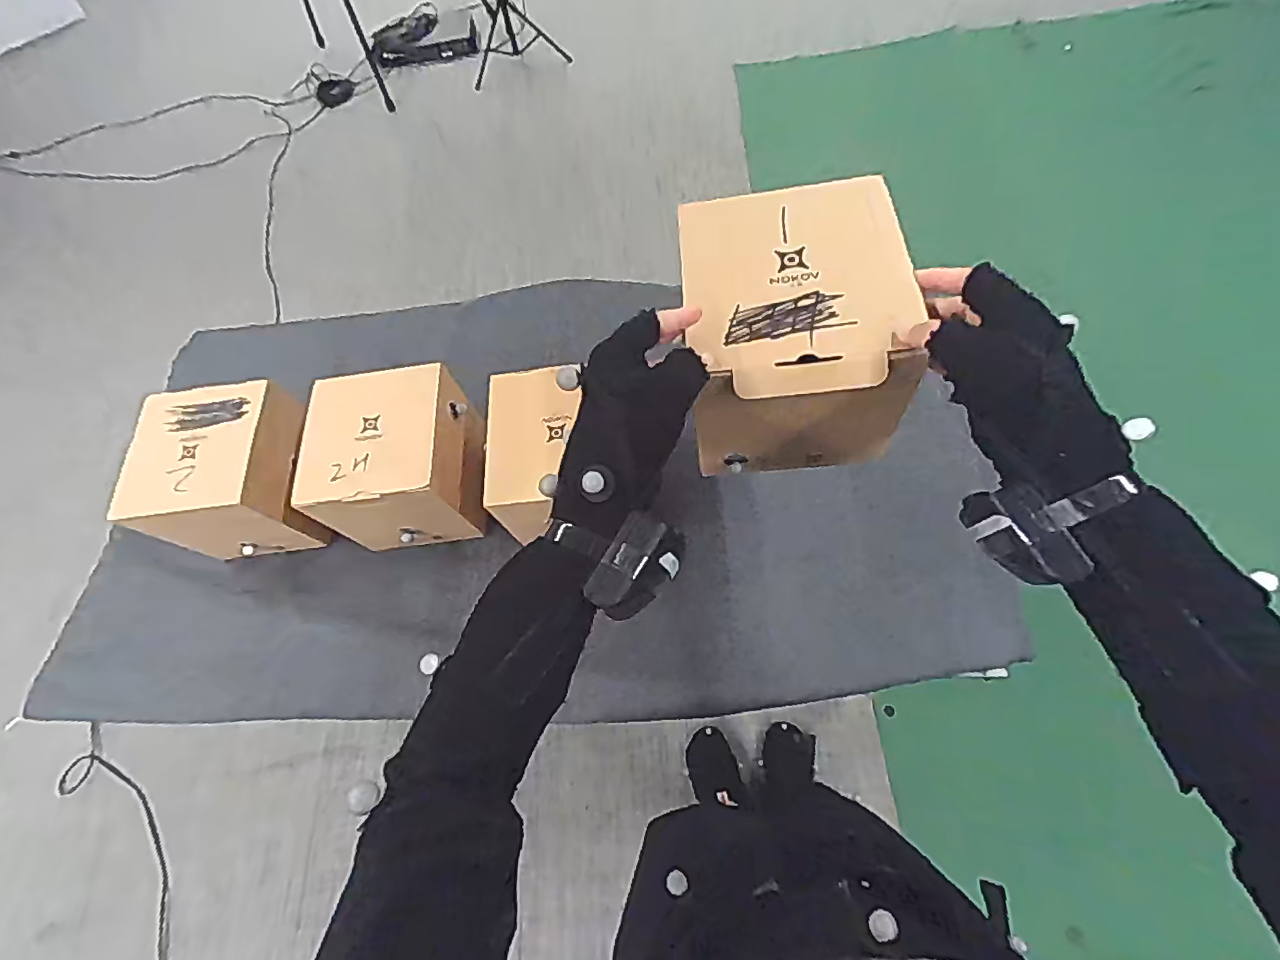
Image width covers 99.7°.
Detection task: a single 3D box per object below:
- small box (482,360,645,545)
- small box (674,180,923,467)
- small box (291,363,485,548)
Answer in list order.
[{"bbox_3d":[-0.087,-0.024,0.686,0.168,0.176,0.179,-7,64,4],"label":"small box"},{"bbox_3d":[0.124,-0.121,0.479,0.168,0.176,0.179,-5,64,8],"label":"small box"},{"bbox_3d":[-0.310,-0.025,0.710,0.168,0.176,0.179,-7,65,4],"label":"small box"}]
